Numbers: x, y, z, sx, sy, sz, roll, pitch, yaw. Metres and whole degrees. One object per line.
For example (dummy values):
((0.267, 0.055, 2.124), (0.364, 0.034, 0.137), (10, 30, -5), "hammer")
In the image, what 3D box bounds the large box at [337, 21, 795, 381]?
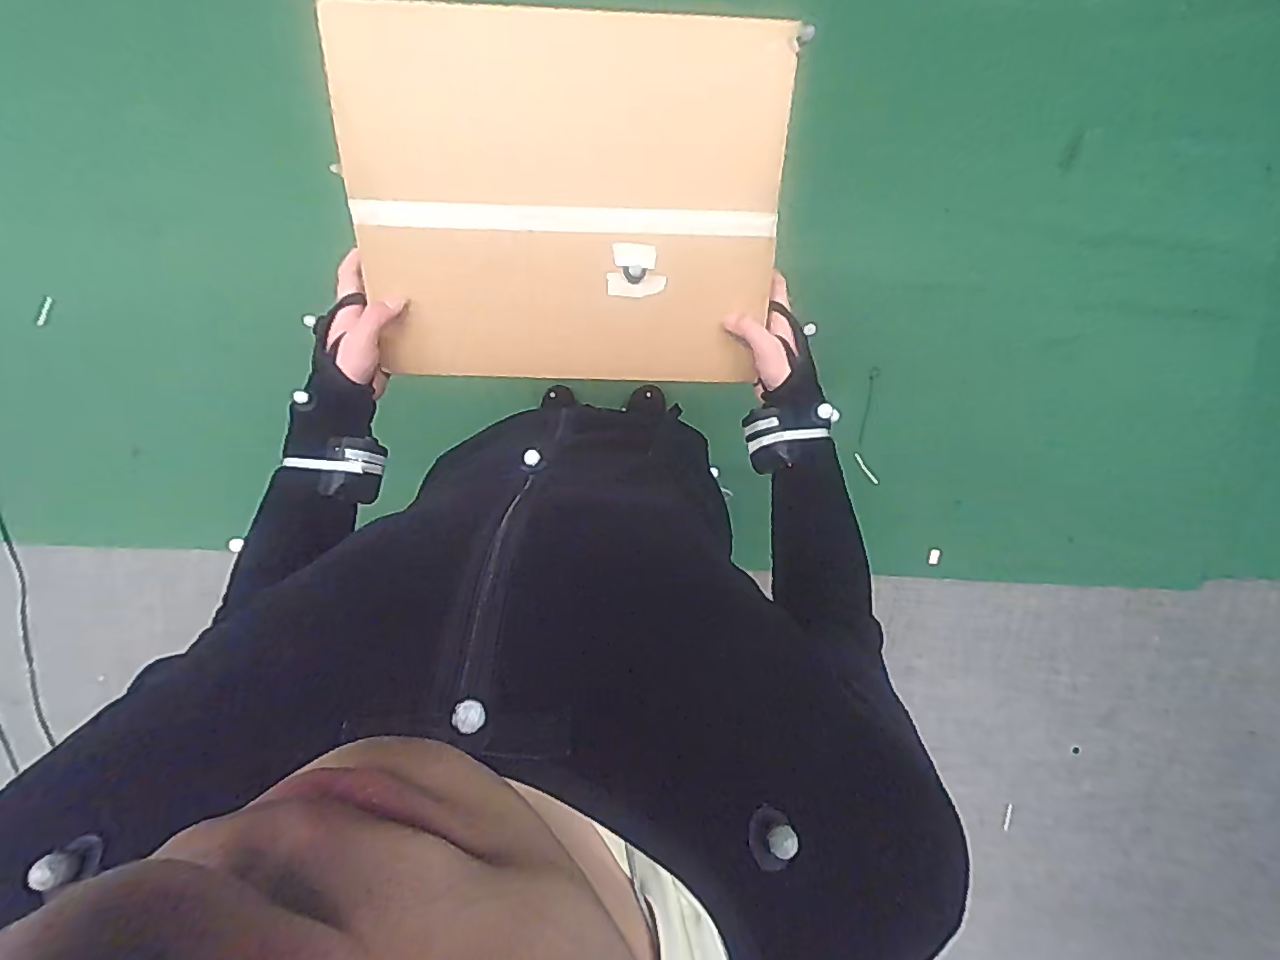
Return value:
((-0.070, -0.311, 0.662), (0.408, 0.320, 0.320), (0, 115, -2), "large box")

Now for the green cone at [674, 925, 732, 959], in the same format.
((0.237, 1.757, 1.818), (0.200, 0.368, 0.202), (8, 99, -4), "green cone")
